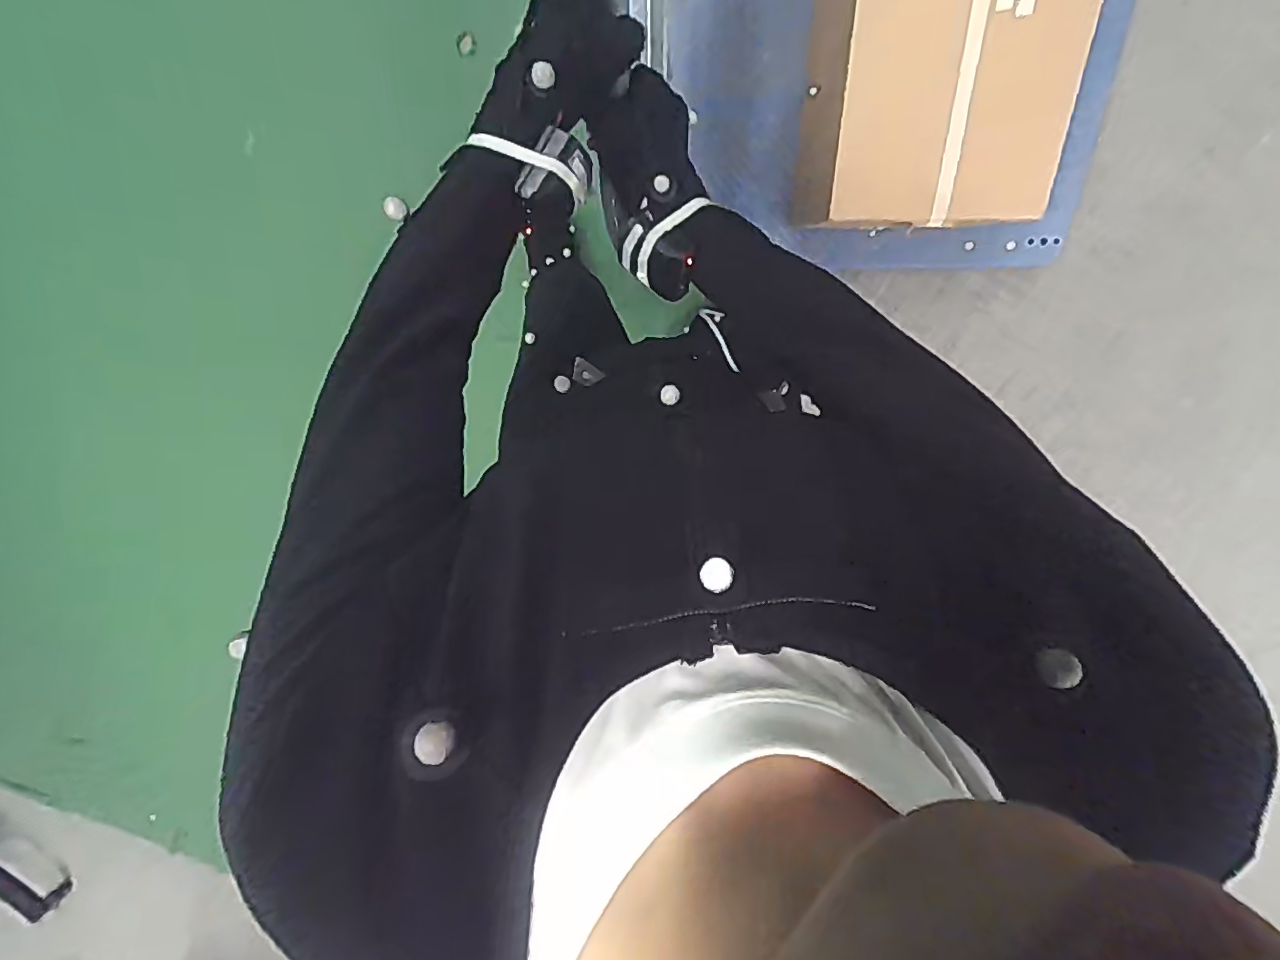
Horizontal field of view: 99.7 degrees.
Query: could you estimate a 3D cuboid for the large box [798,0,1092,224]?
[{"bbox_3d":[0.450,-0.643,0.867,0.320,0.320,0.408,2,112,4],"label":"large box"}]
